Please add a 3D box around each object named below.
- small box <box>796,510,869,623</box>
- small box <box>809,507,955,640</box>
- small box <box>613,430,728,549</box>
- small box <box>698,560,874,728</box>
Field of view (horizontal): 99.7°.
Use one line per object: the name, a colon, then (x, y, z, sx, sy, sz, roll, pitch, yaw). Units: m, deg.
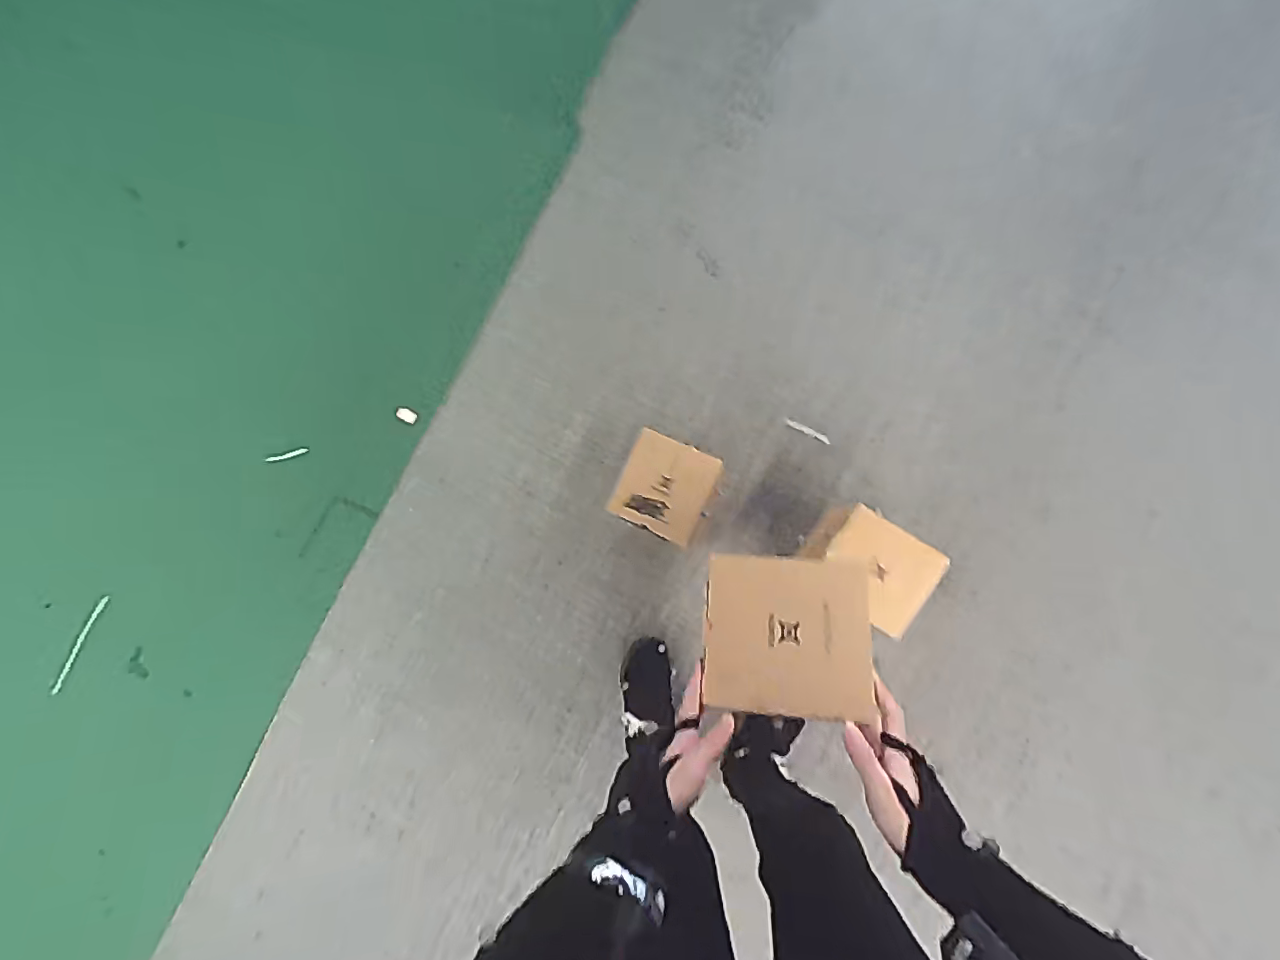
small box: (0.448, 0.182, 1.166, 0.168, 0.176, 0.179, 35, 92, 11)
small box: (0.432, 0.164, 1.005, 0.179, 0.176, 0.168, 33, 91, 12)
small box: (0.069, 0.024, 1.081, 0.168, 0.176, 0.179, 25, 88, 11)
small box: (0.166, 0.199, 0.648, 0.179, 0.176, 0.168, 1, 68, 10)
